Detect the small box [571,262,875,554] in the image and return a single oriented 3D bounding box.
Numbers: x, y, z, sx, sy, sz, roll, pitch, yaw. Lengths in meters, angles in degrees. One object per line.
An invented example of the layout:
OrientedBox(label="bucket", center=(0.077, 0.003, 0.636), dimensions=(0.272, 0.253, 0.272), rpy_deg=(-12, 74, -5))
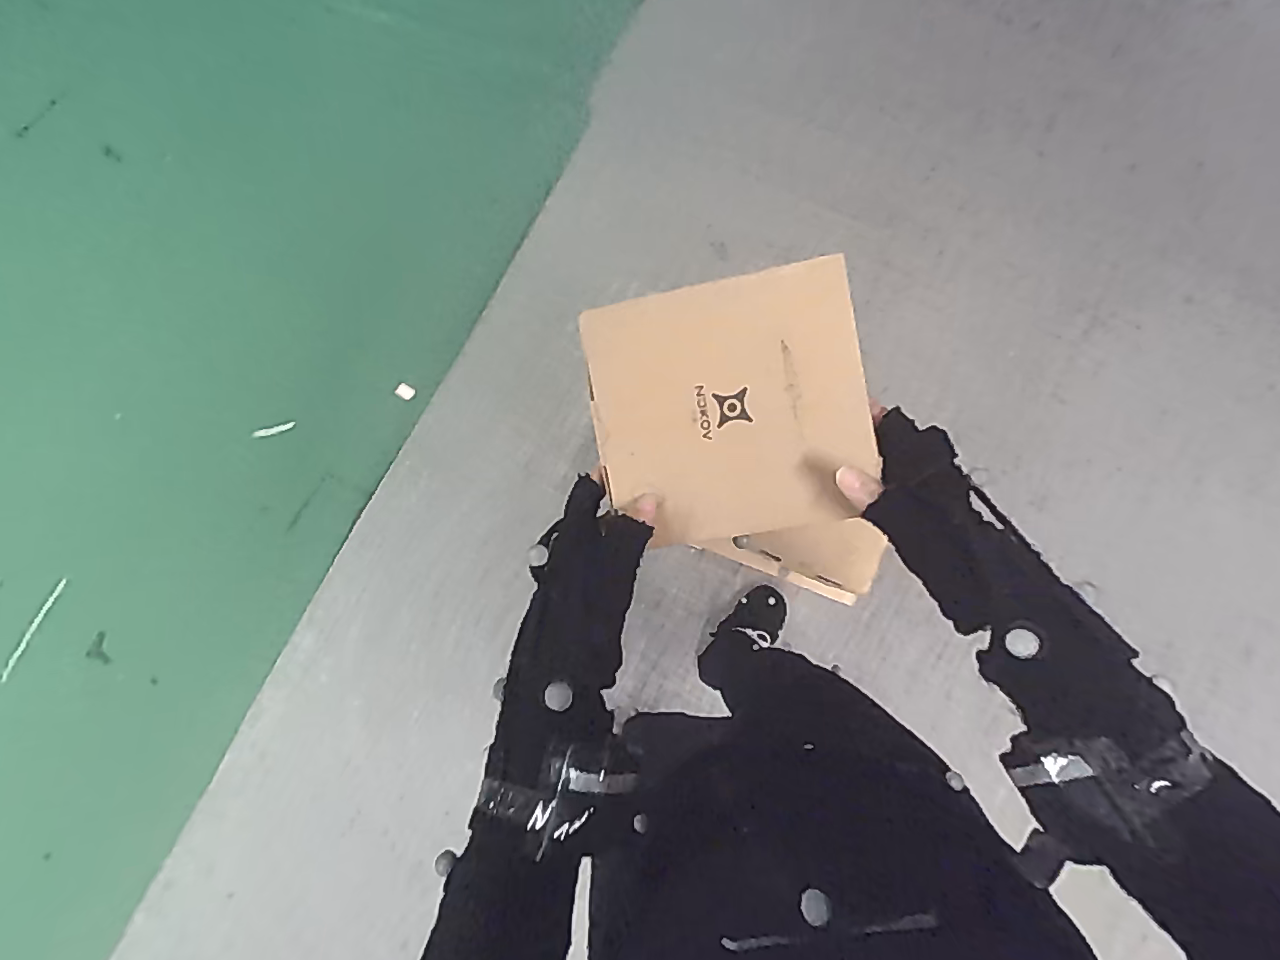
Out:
OrientedBox(label="small box", center=(0.062, -0.046, 0.437), dimensions=(0.179, 0.176, 0.168), rpy_deg=(-13, 91, 7))

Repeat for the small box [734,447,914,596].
OrientedBox(label="small box", center=(0.237, 0.039, 0.744), dimensions=(0.168, 0.176, 0.179), rpy_deg=(24, 87, 9))
